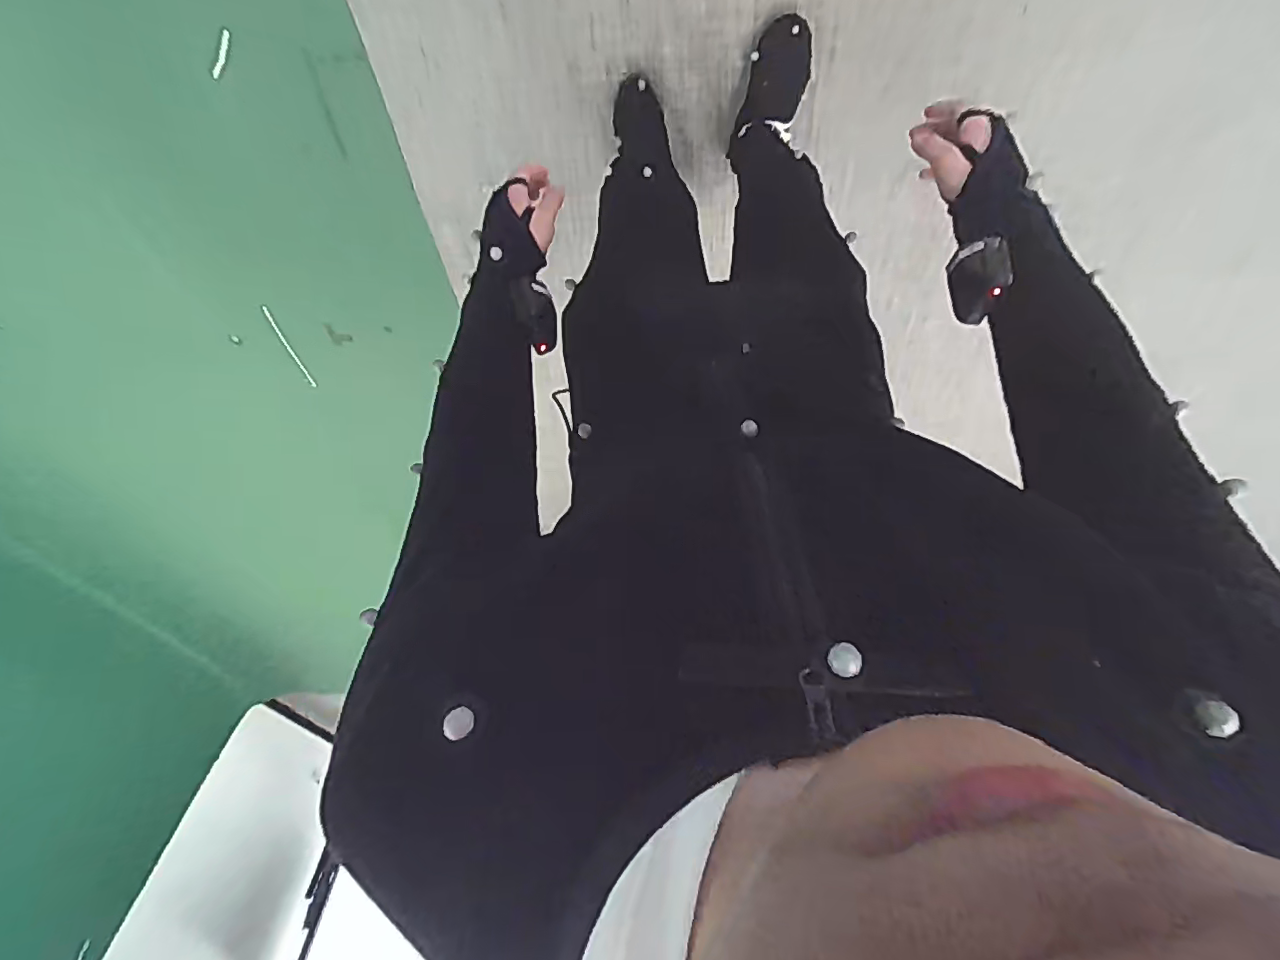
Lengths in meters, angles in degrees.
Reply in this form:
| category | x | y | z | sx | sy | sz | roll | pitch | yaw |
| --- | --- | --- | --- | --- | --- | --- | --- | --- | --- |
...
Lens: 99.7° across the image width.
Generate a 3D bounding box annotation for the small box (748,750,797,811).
| category | x | y | z | sx | sy | sz | roll | pitch | yaw |
| --- | --- | --- | --- | --- | --- | --- | --- | --- | --- |
| small box | 0.513 | 1.174 | 2.115 | 0.168 | 0.176 | 0.179 | 1 | 138 | 9 |
